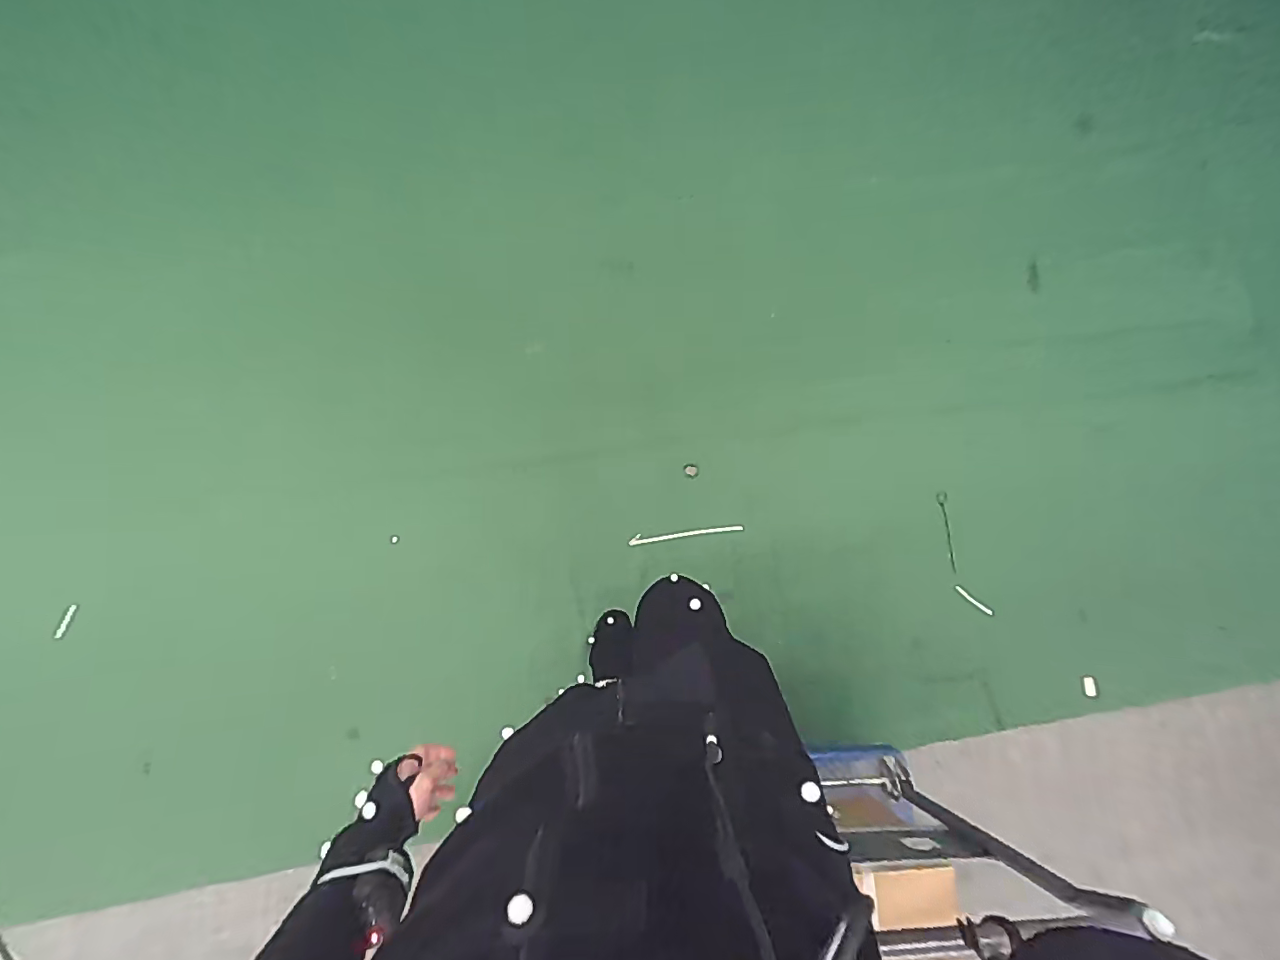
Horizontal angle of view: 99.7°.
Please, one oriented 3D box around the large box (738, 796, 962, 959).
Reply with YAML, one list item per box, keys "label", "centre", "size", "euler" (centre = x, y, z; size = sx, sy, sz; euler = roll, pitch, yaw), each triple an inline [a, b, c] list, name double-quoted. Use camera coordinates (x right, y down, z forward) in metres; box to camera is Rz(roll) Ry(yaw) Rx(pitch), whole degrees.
- label: "large box"
  centre: [0.384, 0.886, 1.036]
  size: [0.320, 0.320, 0.408]
  euler: [-1, 80, -2]
